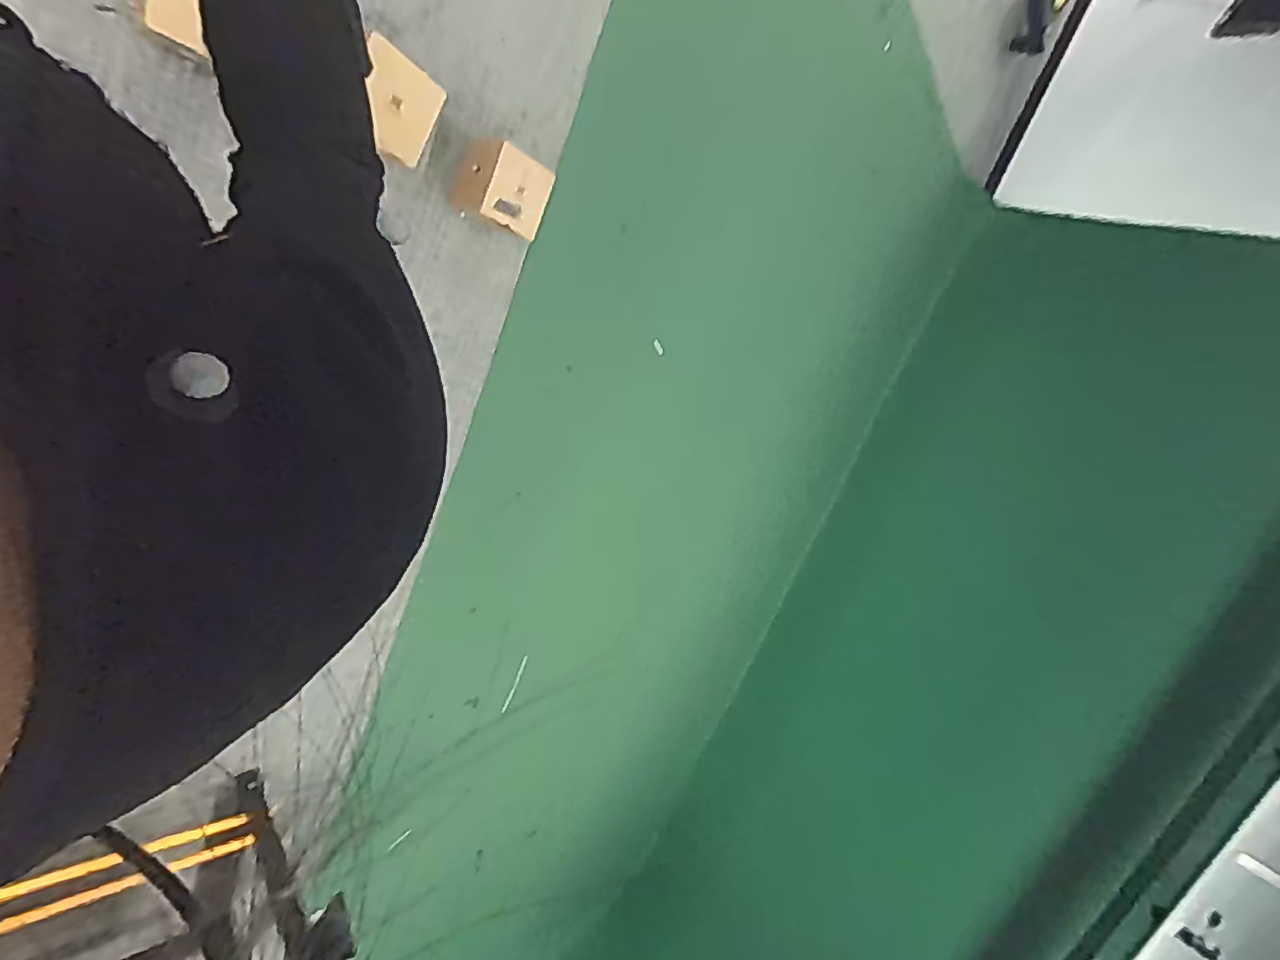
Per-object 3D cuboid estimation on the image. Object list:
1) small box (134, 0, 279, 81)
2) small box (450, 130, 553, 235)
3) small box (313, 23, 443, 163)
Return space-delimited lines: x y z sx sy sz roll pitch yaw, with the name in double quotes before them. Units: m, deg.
"small box" -0.738 -0.821 0.919 0.168 0.176 0.179 4 114 -48
"small box" -0.361 -0.763 1.388 0.168 0.176 0.179 10 107 -51
"small box" -0.554 -0.808 1.137 0.168 0.176 0.179 17 103 -52
